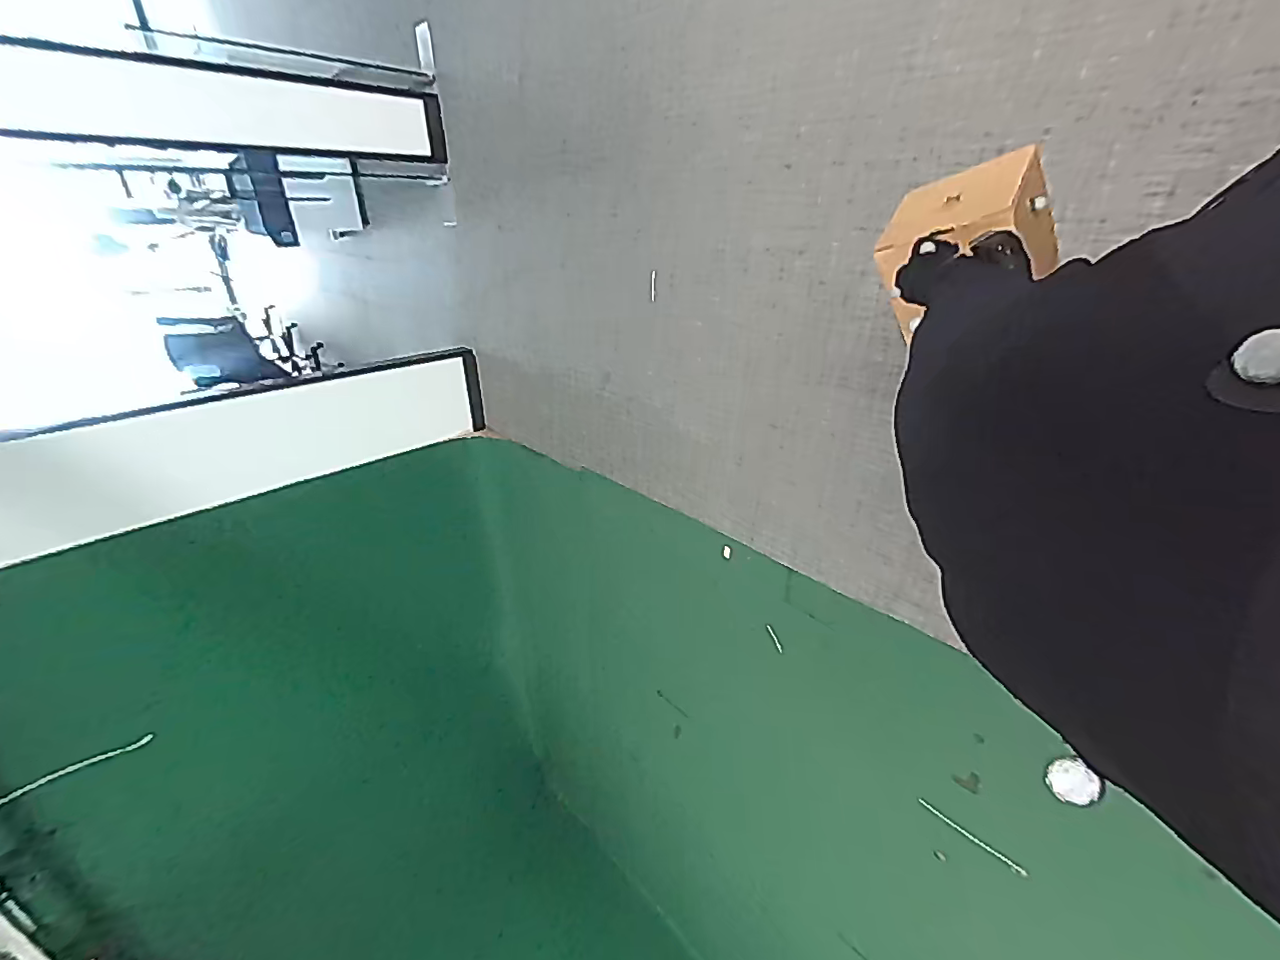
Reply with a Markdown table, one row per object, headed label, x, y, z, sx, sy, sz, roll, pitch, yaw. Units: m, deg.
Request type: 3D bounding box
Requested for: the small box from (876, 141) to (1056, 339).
| label | x | y | z | sx | sy | sz | roll | pitch | yaw |
| --- | --- | --- | --- | --- | --- | --- | --- | --- | --- |
| small box | 0.468 | -0.329 | 0.769 | 0.168 | 0.179 | 0.176 | 0 | 137 | 49 |
